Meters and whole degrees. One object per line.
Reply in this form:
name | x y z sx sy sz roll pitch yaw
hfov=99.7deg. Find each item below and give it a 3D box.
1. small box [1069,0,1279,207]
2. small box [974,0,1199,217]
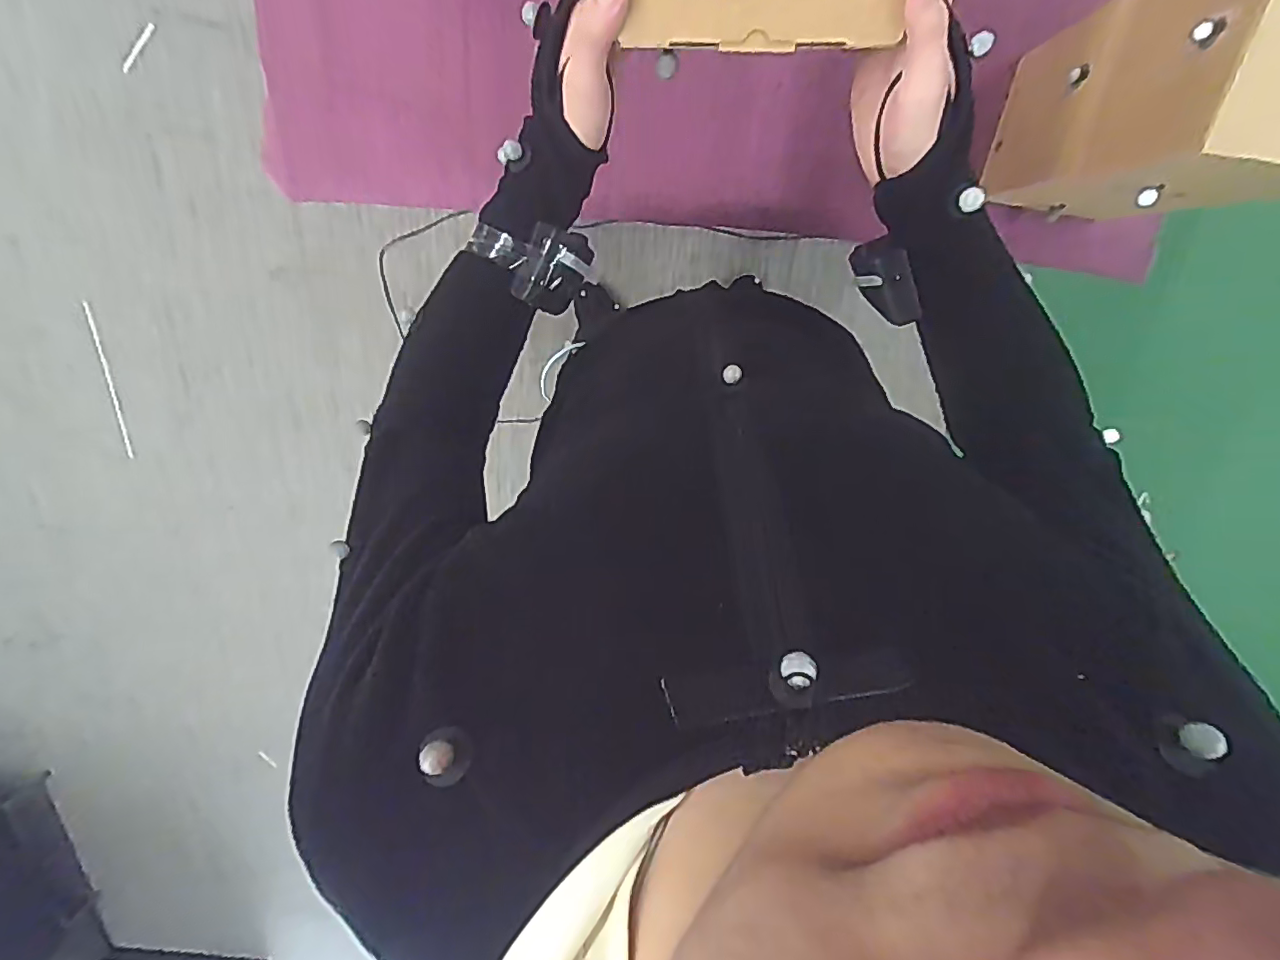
small box | 0.538 -0.358 0.476 0.168 0.176 0.179 9 111 1
small box | 0.542 -0.413 0.630 0.179 0.176 0.168 9 110 -1
